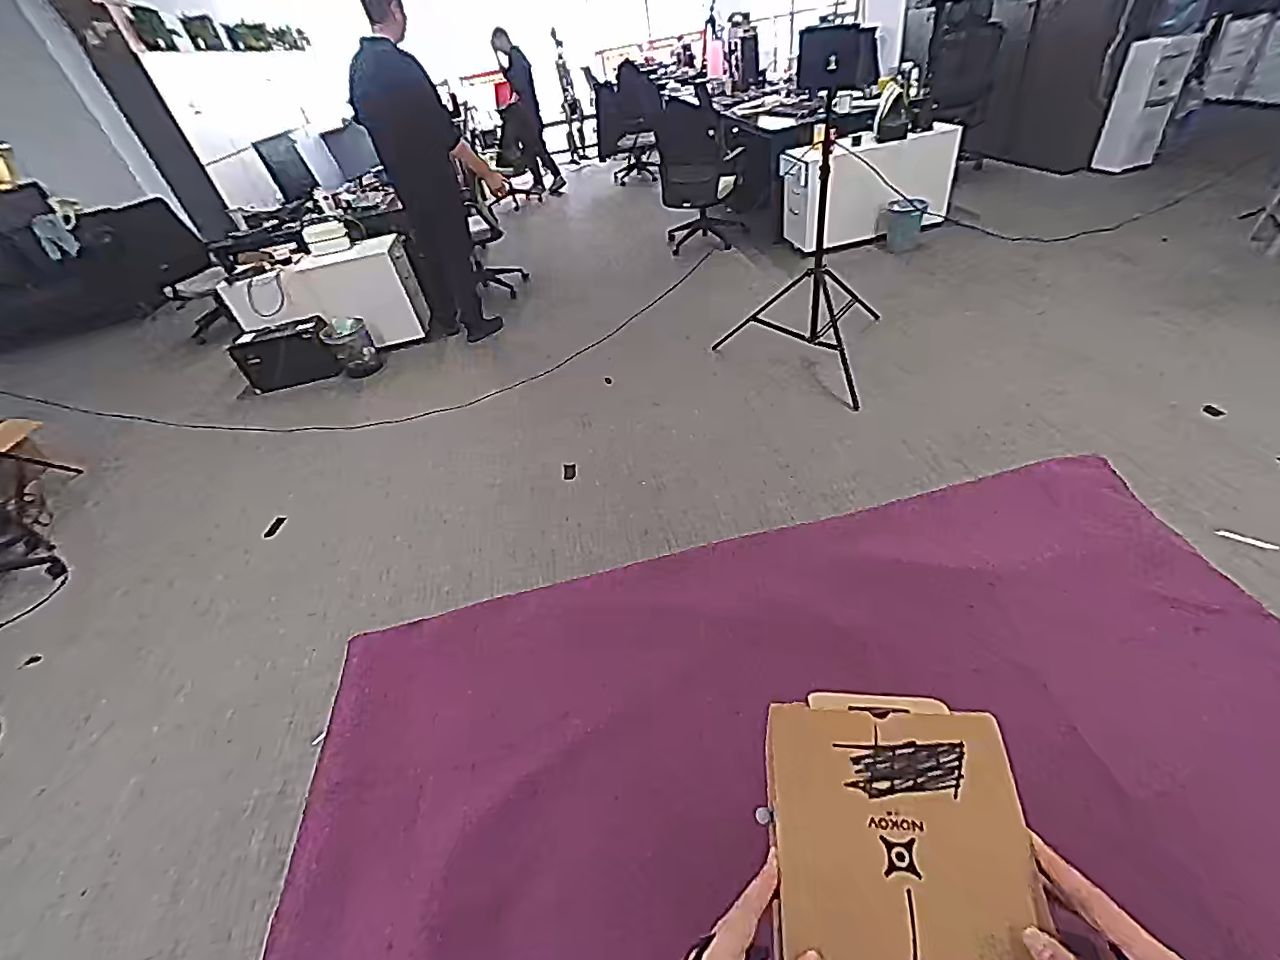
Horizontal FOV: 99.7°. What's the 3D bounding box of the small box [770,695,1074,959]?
[{"bbox_3d":[0.194,0.288,0.430,0.168,0.176,0.179,-2,53,10],"label":"small box"}]
